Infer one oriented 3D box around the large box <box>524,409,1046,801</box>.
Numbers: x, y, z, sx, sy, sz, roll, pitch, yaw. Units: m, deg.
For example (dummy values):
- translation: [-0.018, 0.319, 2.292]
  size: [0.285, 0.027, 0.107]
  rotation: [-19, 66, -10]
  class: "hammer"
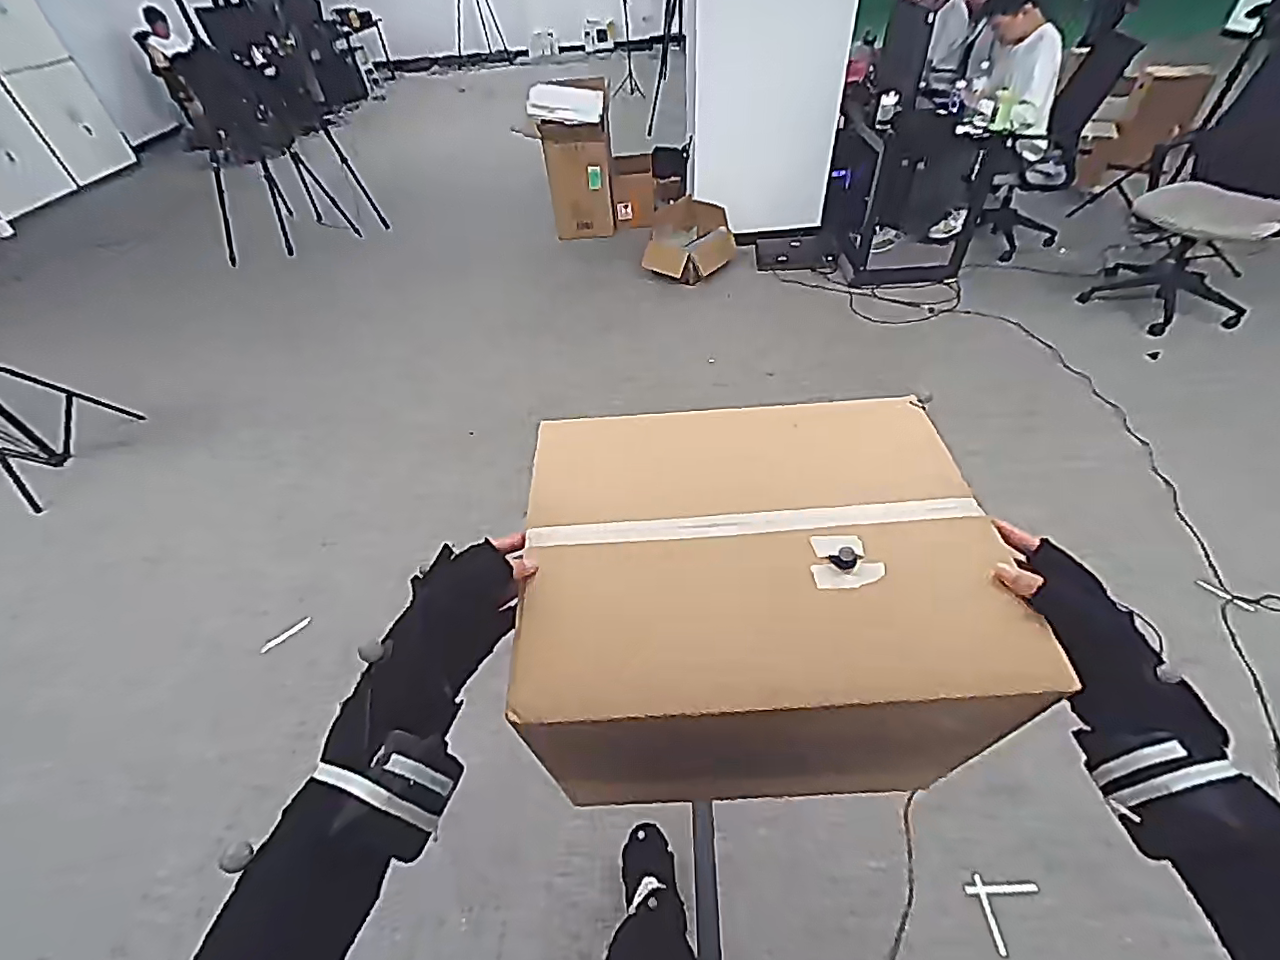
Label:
- translation: [0.107, 0.146, 0.612]
  size: [0.408, 0.320, 0.320]
  rotation: [-4, 50, 1]
  class: "large box"
